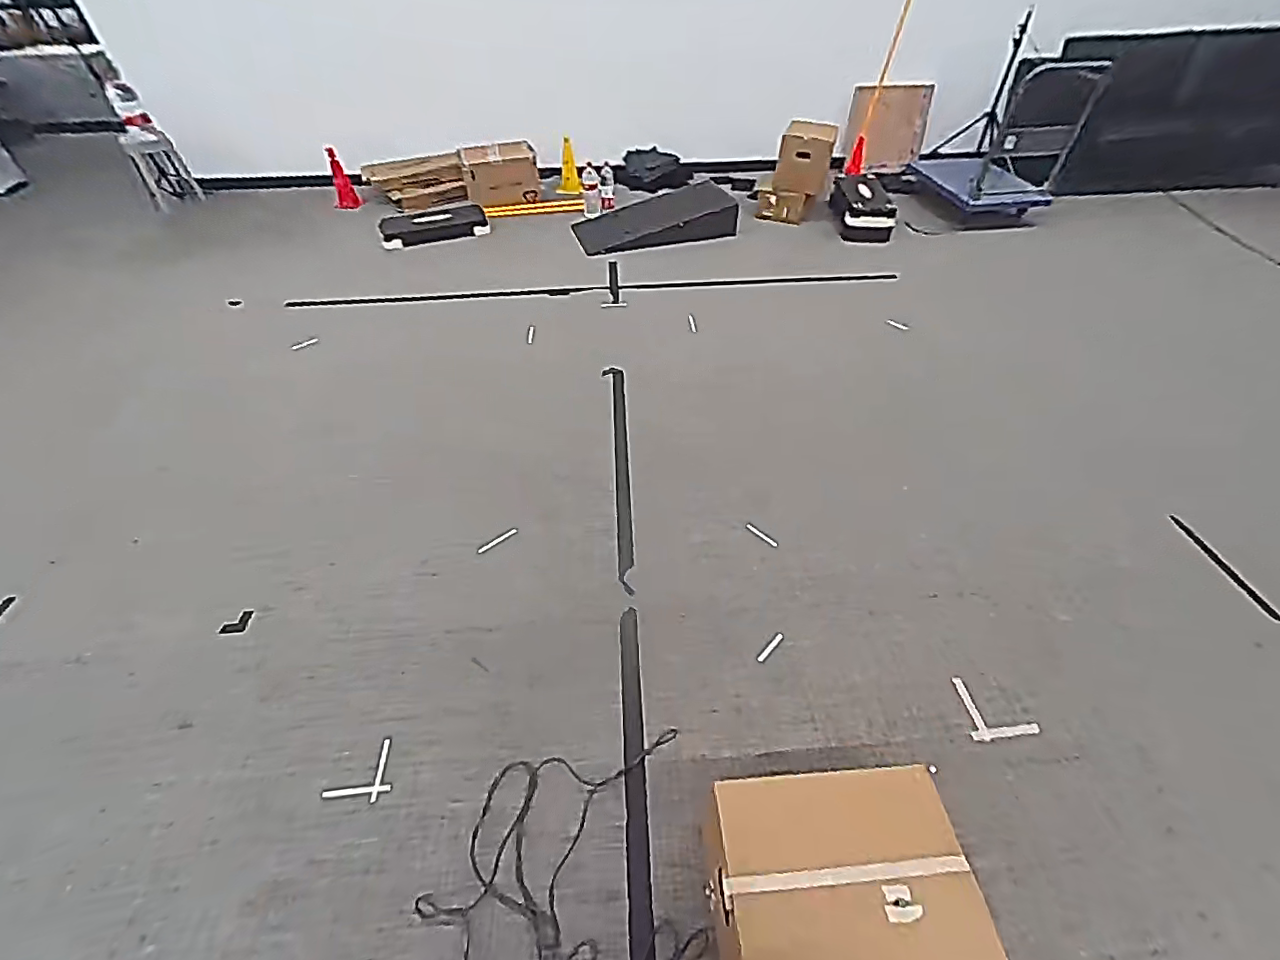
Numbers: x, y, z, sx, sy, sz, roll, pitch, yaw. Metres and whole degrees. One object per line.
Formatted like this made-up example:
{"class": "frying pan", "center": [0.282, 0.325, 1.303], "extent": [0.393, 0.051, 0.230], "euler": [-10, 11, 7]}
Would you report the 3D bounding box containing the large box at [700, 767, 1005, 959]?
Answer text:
{"class": "large box", "center": [0.344, 0.763, 0.996], "extent": [0.408, 0.320, 0.320], "euler": [-3, 45, -4]}
